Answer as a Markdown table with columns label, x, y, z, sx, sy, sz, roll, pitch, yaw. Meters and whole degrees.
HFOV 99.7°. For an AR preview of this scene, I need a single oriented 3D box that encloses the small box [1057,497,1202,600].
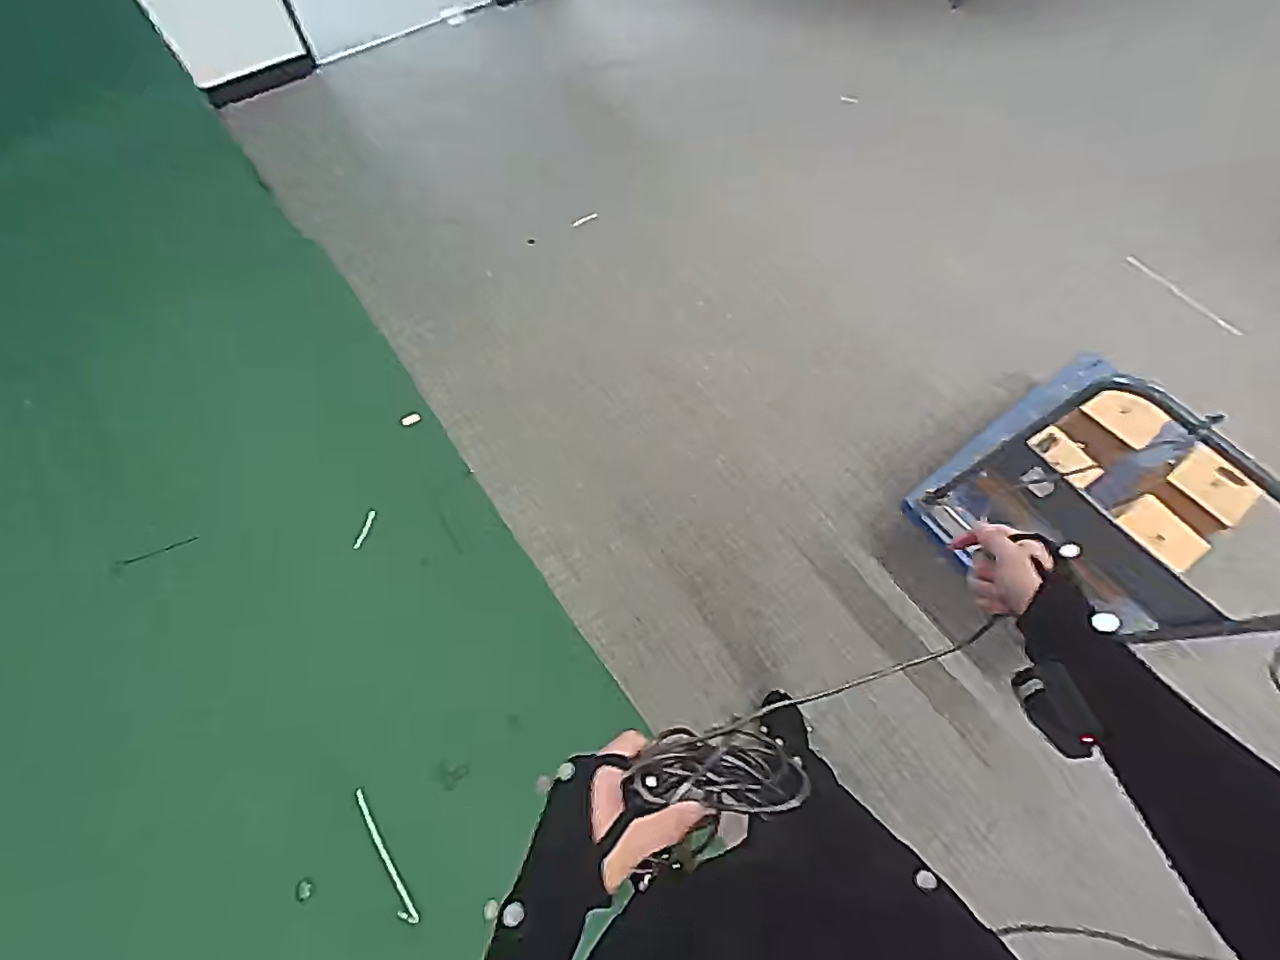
| label | x | y | z | sx | sy | sz | roll | pitch | yaw |
| --- | --- | --- | --- | --- | --- | --- | --- | --- | --- |
| small box | 1.207 | 0.175 | 1.348 | 0.179 | 0.176 | 0.168 | -32 | 71 | -14 |

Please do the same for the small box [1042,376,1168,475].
| label | x | y | z | sx | sy | sz | roll | pitch | yaw |
| --- | --- | --- | --- | --- | --- | --- | --- | --- | --- |
| small box | 1.260 | -0.143 | 1.483 | 0.179 | 0.176 | 0.168 | -38 | 73 | -16 |

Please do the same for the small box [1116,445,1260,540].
| label | x | y | z | sx | sy | sz | roll | pitch | yaw |
| --- | --- | --- | --- | --- | --- | --- | --- | --- | --- |
| small box | 1.412 | 0.046 | 1.407 | 0.179 | 0.176 | 0.168 | -35 | 71 | -15 |
